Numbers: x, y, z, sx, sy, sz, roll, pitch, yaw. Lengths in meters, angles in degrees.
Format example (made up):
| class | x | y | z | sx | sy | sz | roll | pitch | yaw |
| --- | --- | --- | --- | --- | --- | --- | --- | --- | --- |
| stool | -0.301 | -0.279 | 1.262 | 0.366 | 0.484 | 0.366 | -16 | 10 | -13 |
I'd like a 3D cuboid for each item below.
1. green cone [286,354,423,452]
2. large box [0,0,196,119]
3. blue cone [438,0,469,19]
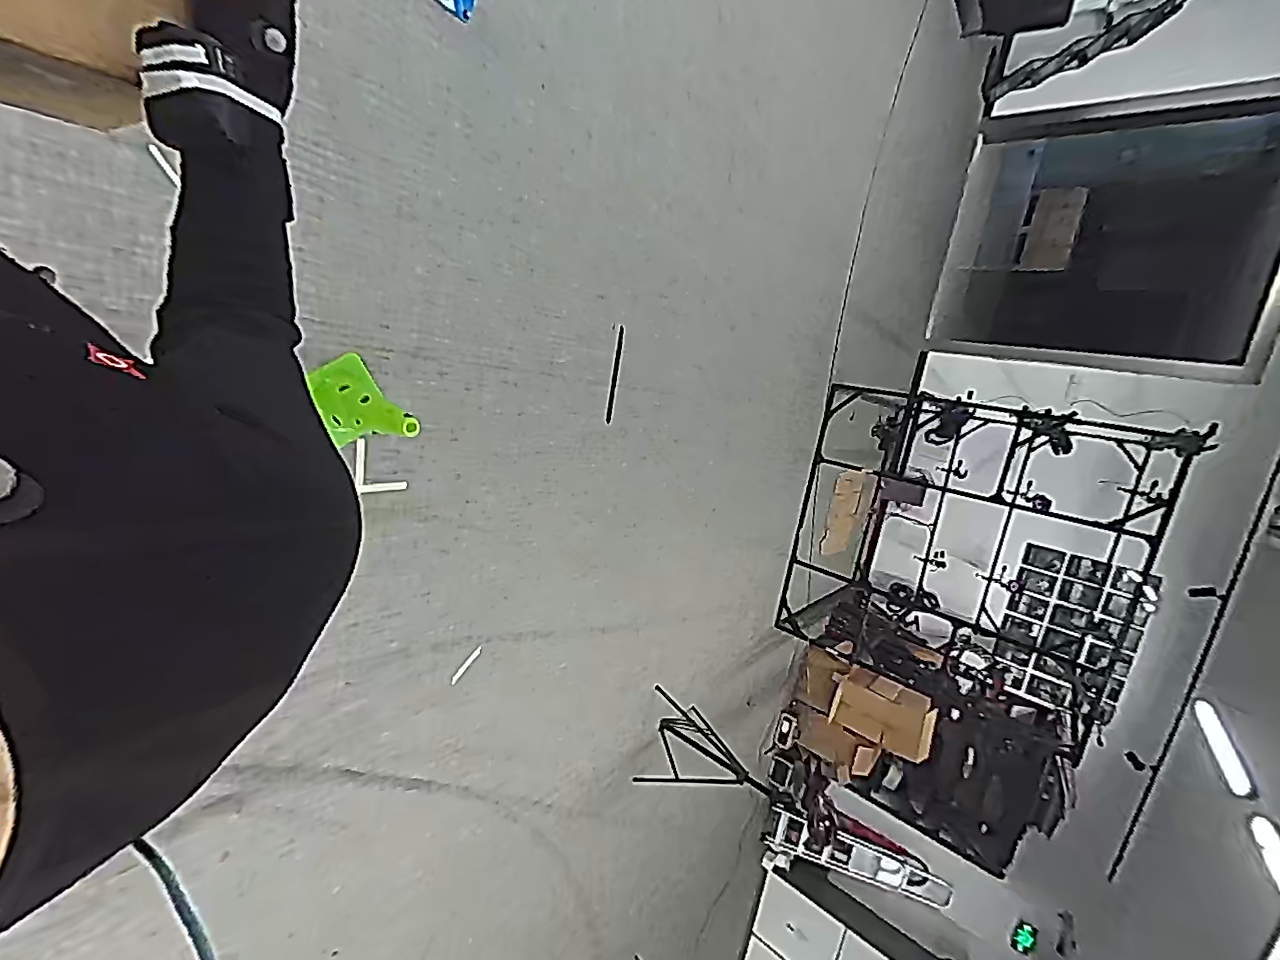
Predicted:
| class | x | y | z | sx | sy | sz | roll | pitch | yaw |
| --- | --- | --- | --- | --- | --- | --- | --- | --- | --- |
| green cone | -0.645 | -0.157 | 1.307 | 0.202 | 0.368 | 0.200 | -47 | 138 | -32 |
| large box | -0.540 | -0.449 | 0.284 | 0.408 | 0.320 | 0.320 | -11 | 116 | -53 |
| blue cone | -0.364 | -1.251 | 1.239 | 0.192 | 0.380 | 0.193 | 2 | 103 | -54 |
